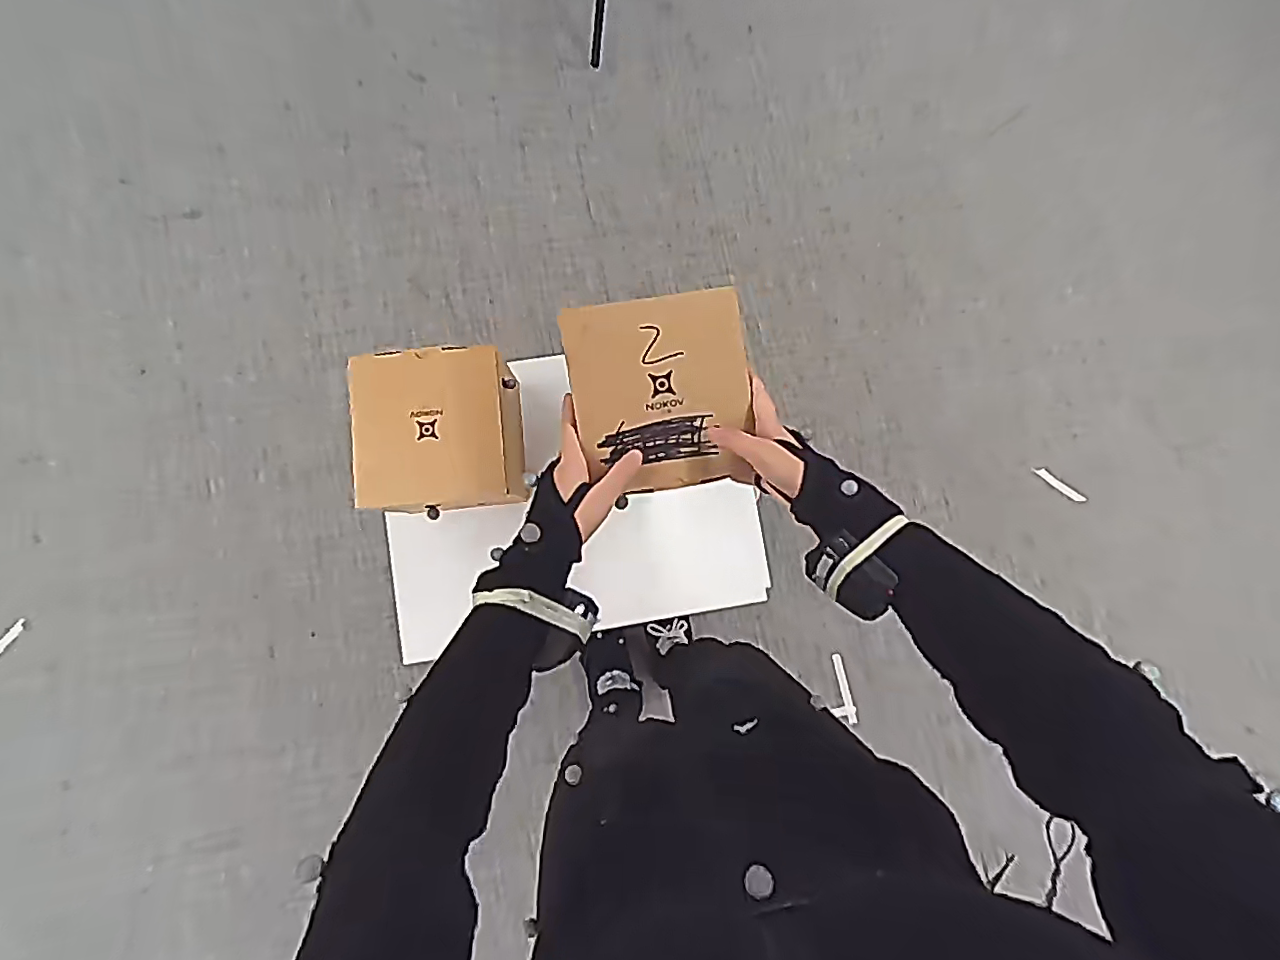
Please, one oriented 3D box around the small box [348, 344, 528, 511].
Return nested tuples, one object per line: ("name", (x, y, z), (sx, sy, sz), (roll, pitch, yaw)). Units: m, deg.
("small box", (-0.239, -0.054, 0.676), (0.168, 0.176, 0.179), (-6, 85, -4))
